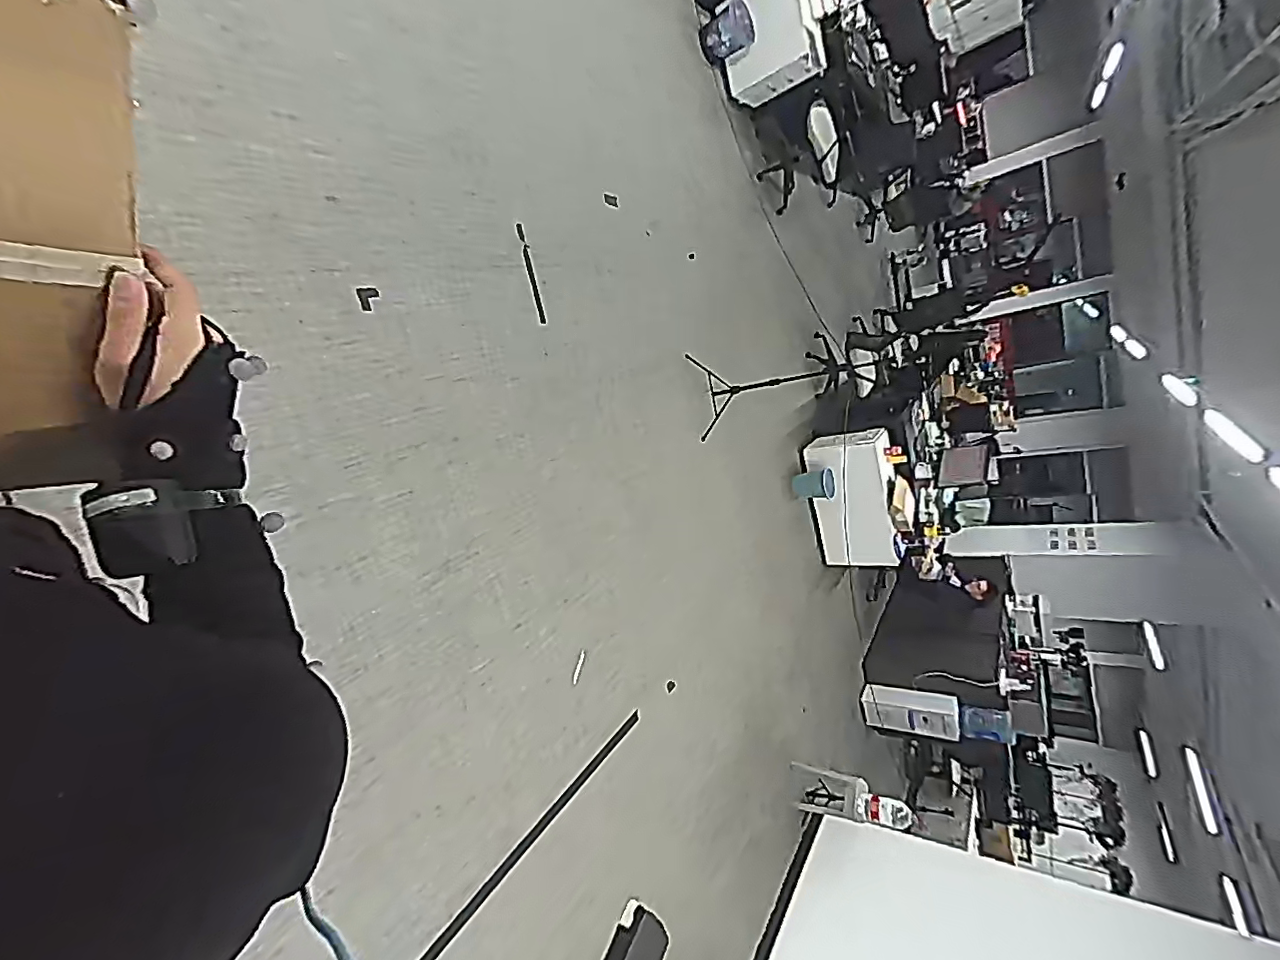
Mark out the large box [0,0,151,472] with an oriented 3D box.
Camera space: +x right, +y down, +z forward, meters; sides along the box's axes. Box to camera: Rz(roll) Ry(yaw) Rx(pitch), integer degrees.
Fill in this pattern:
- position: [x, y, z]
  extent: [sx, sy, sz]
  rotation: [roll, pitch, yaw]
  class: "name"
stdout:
- position: [-0.561, -0.192, 0.274]
  extent: [0.408, 0.320, 0.320]
  rotation: [-13, 134, -50]
  class: "large box"
